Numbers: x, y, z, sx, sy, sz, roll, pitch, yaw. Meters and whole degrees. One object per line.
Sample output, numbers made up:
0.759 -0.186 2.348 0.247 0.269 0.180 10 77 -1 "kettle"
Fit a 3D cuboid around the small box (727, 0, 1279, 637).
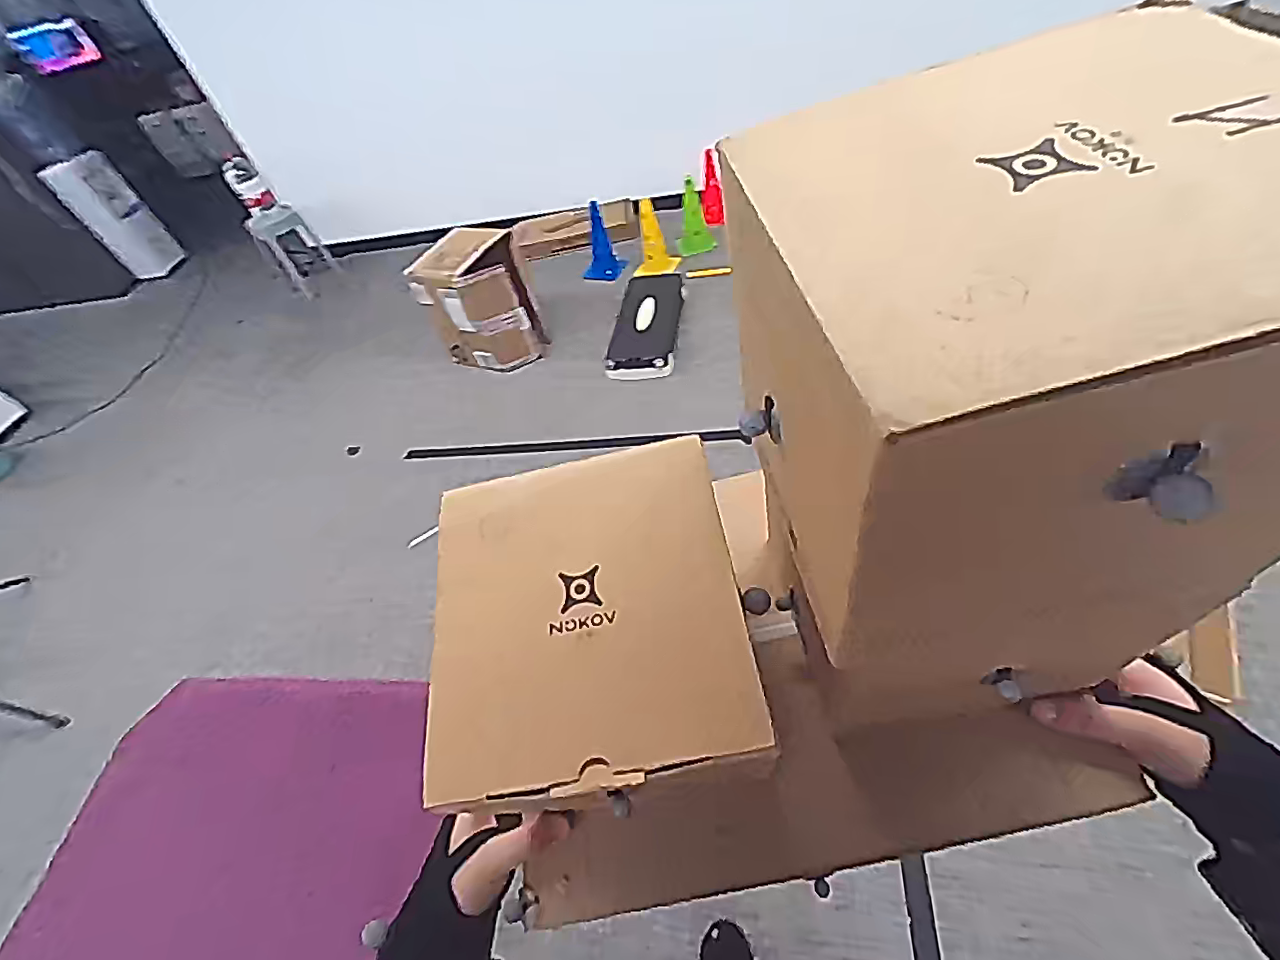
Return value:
0.145 -0.052 0.221 0.179 0.176 0.168 -13 52 6 "small box"
